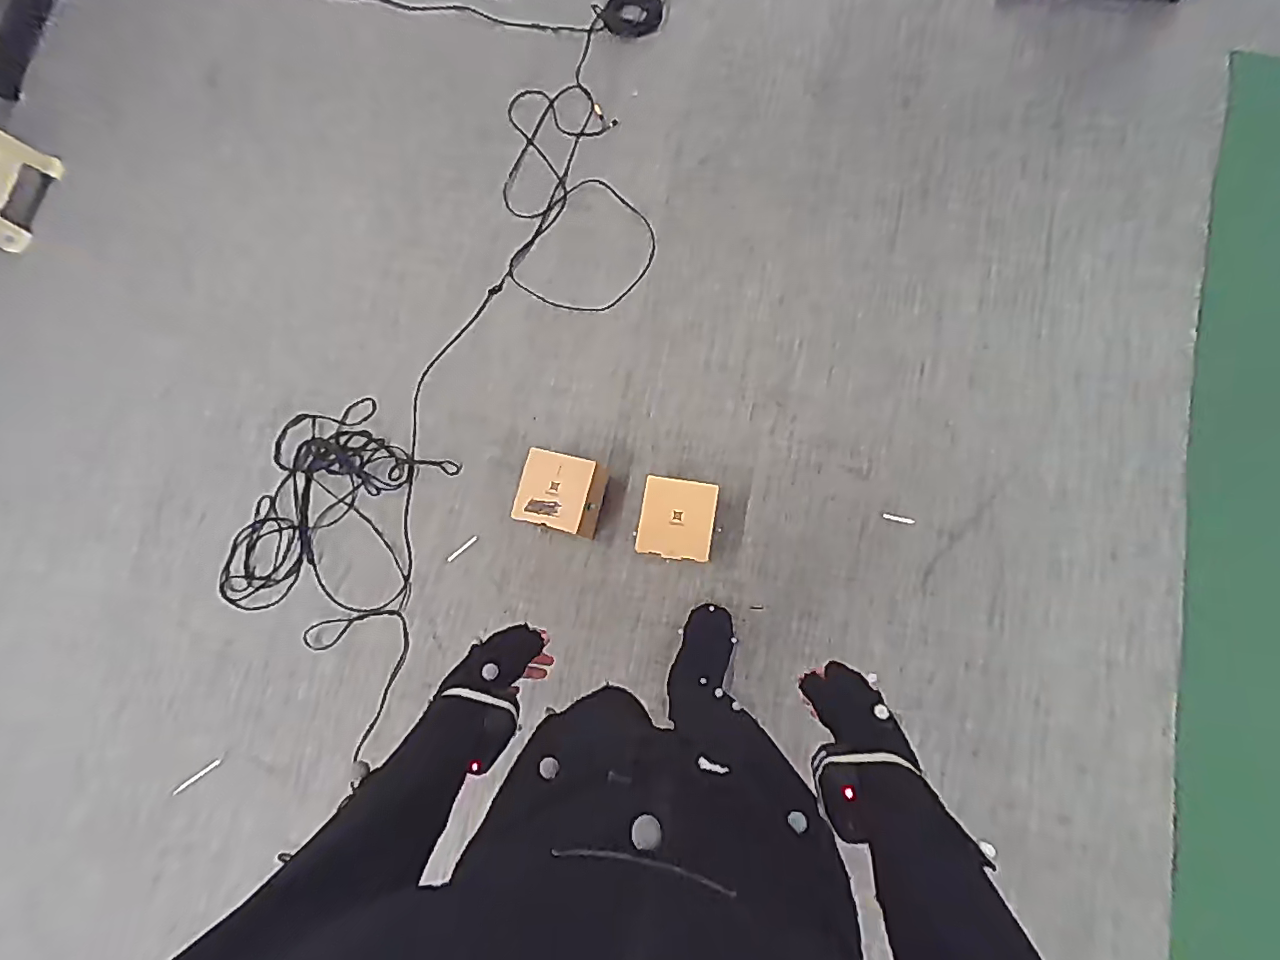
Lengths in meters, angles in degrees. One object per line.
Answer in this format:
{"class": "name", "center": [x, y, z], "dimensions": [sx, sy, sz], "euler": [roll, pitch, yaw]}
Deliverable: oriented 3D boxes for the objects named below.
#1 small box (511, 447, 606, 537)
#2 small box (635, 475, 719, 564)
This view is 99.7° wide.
{"class": "small box", "center": [-0.190, 0.037, 1.329], "dimensions": [0.168, 0.176, 0.179], "euler": [13, 81, 9]}
{"class": "small box", "center": [0.091, 0.098, 1.285], "dimensions": [0.168, 0.176, 0.179], "euler": [8, 81, 9]}
